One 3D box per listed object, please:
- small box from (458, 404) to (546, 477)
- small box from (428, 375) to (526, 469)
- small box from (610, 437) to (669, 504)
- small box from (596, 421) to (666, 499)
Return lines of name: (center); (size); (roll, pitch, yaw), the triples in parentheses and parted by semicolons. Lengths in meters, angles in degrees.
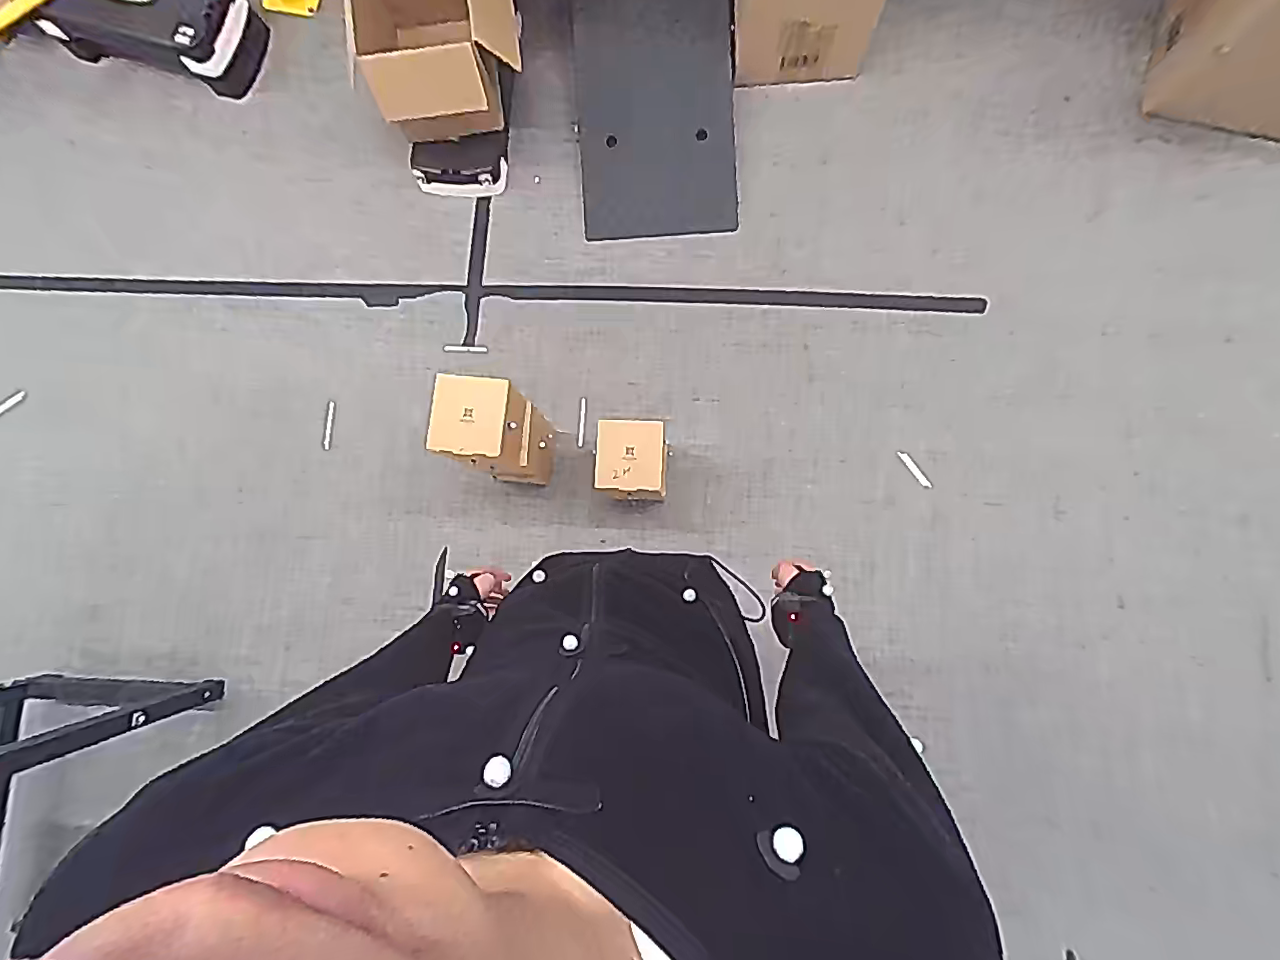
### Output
small box: (-0.355, -0.103, 1.417); (0.179, 0.176, 0.168); (3, 84, 1)
small box: (-0.370, -0.128, 1.257); (0.168, 0.176, 0.179); (5, 84, 2)
small box: (0.000, -0.026, 1.563); (0.168, 0.176, 0.179); (1, 85, 4)
small box: (-0.019, -0.047, 1.400); (0.168, 0.176, 0.179); (2, 84, 4)
